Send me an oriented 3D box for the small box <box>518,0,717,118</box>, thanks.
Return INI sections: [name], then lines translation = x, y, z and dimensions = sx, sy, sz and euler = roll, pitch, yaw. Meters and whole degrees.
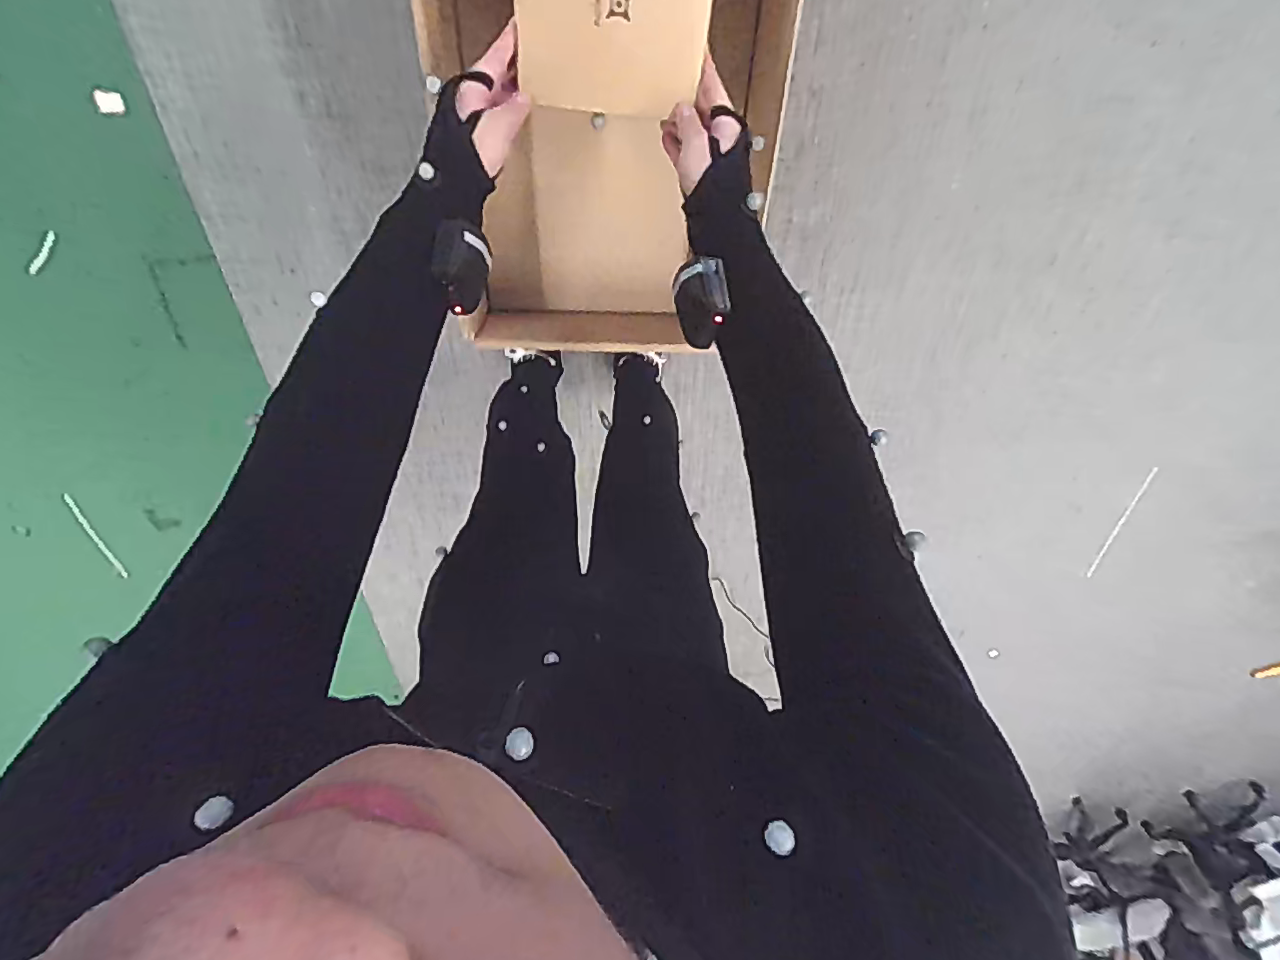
[small box]
translation = -0.024, -0.476, 0.530
dimensions = 0.179, 0.176, 0.168
euler = 2, 131, -6
